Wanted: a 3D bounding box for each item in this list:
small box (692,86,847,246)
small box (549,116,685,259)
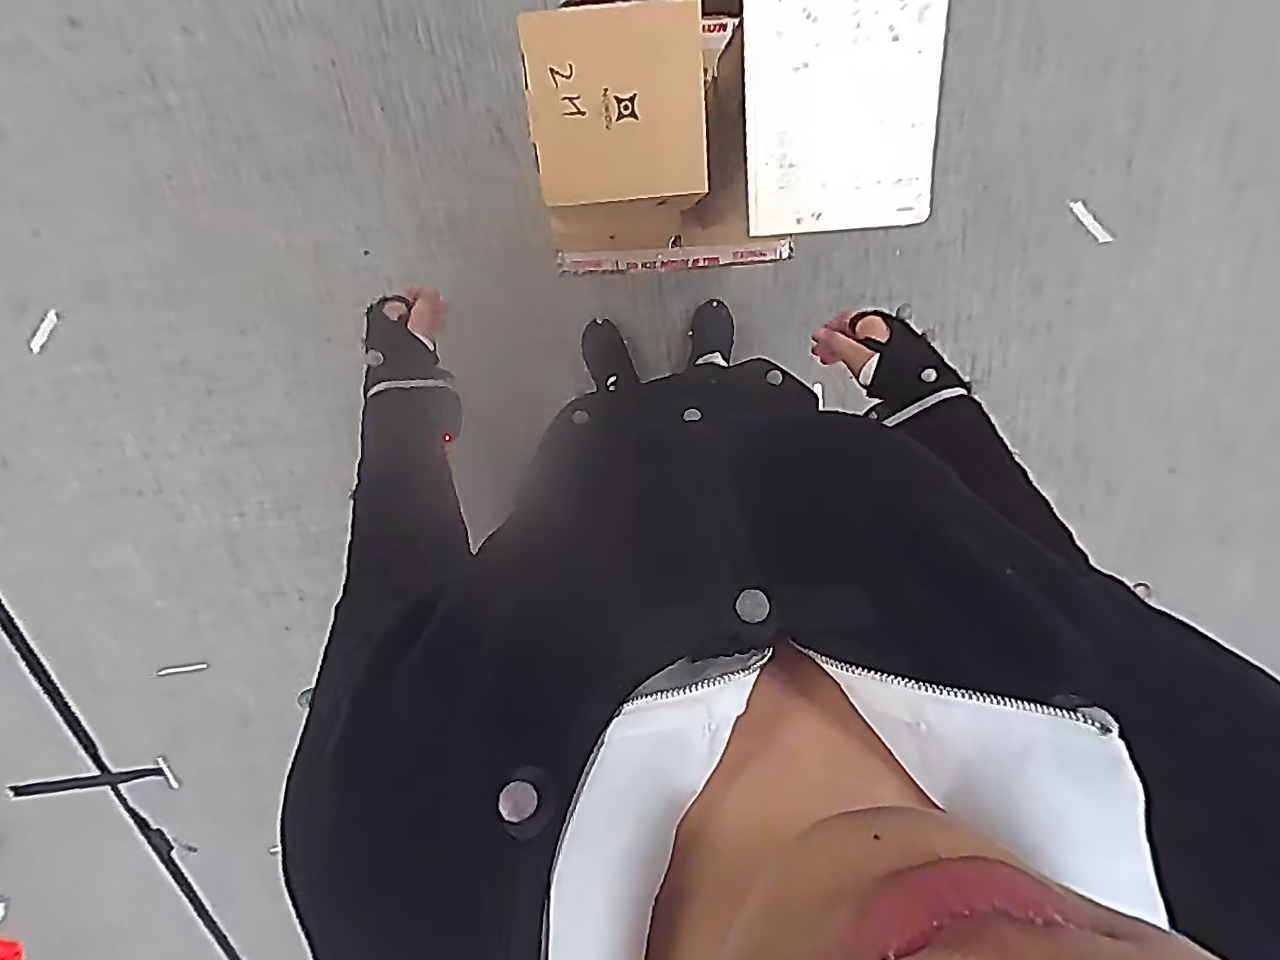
[{"bbox_3d":[0.183,-0.445,0.791,0.179,0.176,0.168,-10,111,0],"label":"small box"},{"bbox_3d":[-0.032,-0.415,0.789,0.179,0.176,0.168,-1,111,-1],"label":"small box"}]
